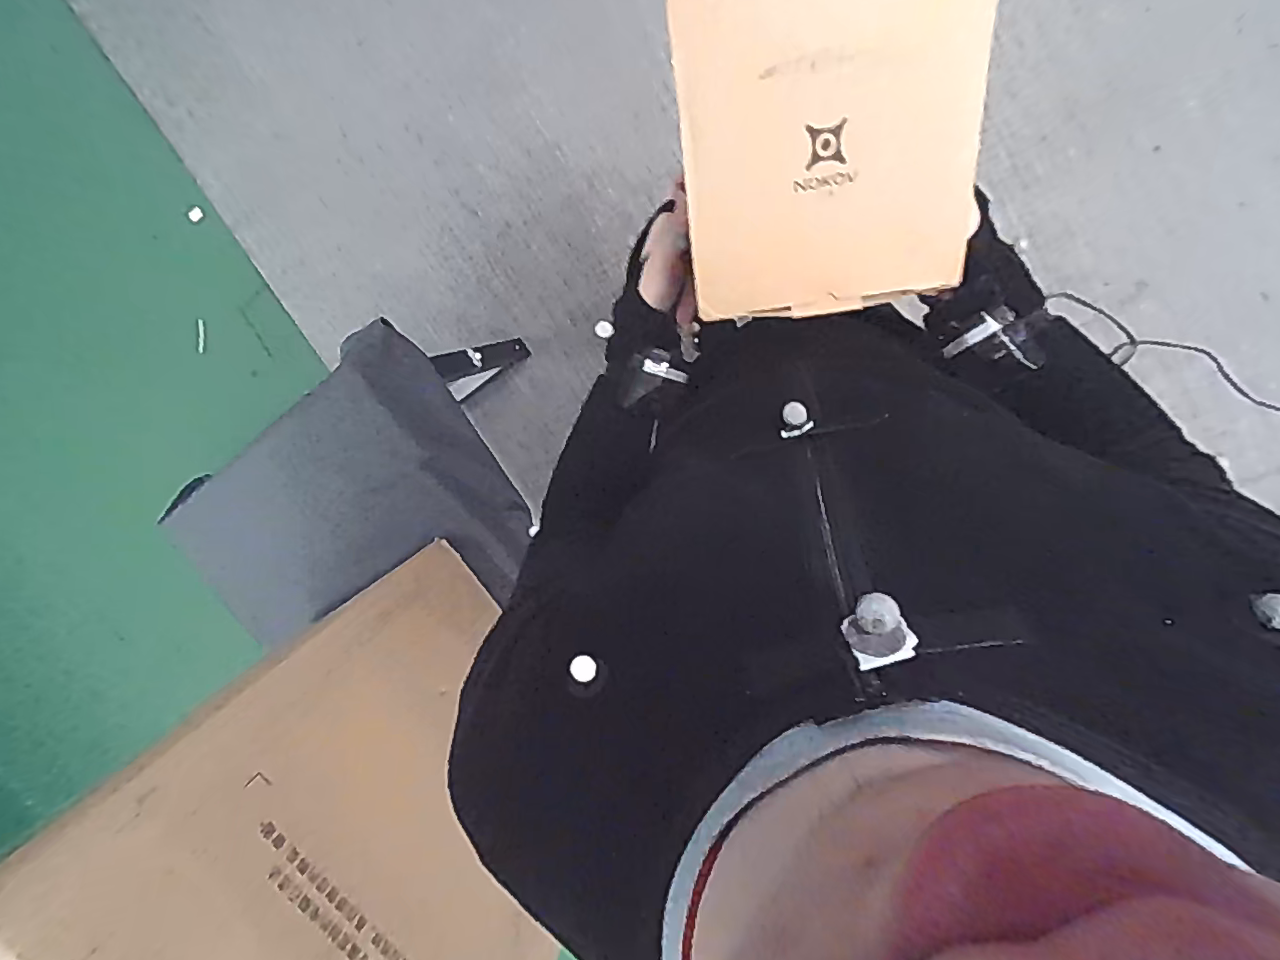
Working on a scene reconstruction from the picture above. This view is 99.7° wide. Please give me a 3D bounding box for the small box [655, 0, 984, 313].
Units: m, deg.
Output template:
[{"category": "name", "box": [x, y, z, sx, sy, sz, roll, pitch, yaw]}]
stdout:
[{"category": "small box", "box": [0.106, -0.232, 0.377, 0.168, 0.176, 0.179, -5, 120, 8]}]
